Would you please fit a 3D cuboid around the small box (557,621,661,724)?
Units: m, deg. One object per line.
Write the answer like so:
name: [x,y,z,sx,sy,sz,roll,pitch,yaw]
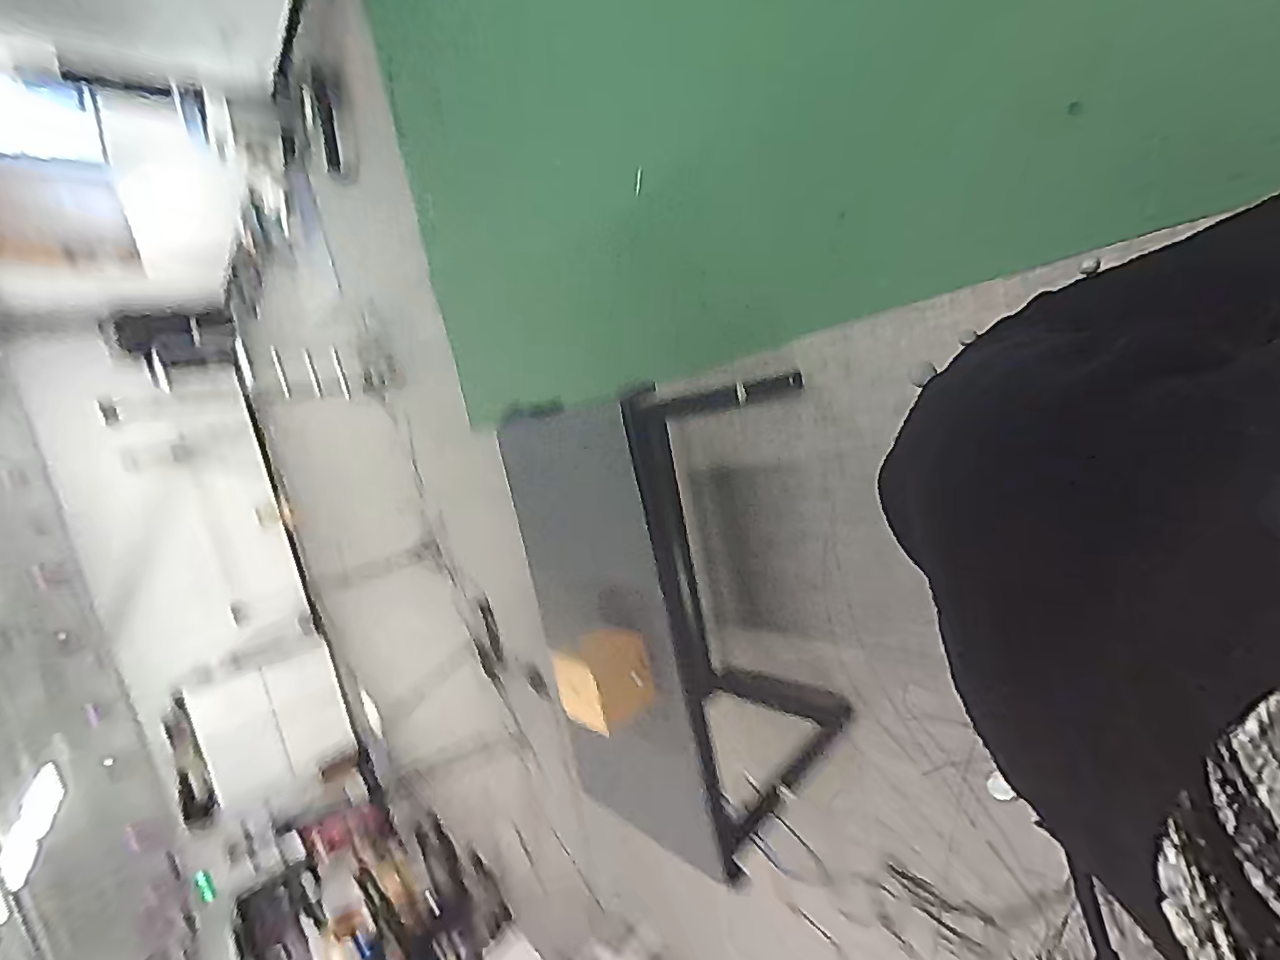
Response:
small box: [-0.076,0.463,1.335,0.179,0.176,0.168,-4,101,50]
